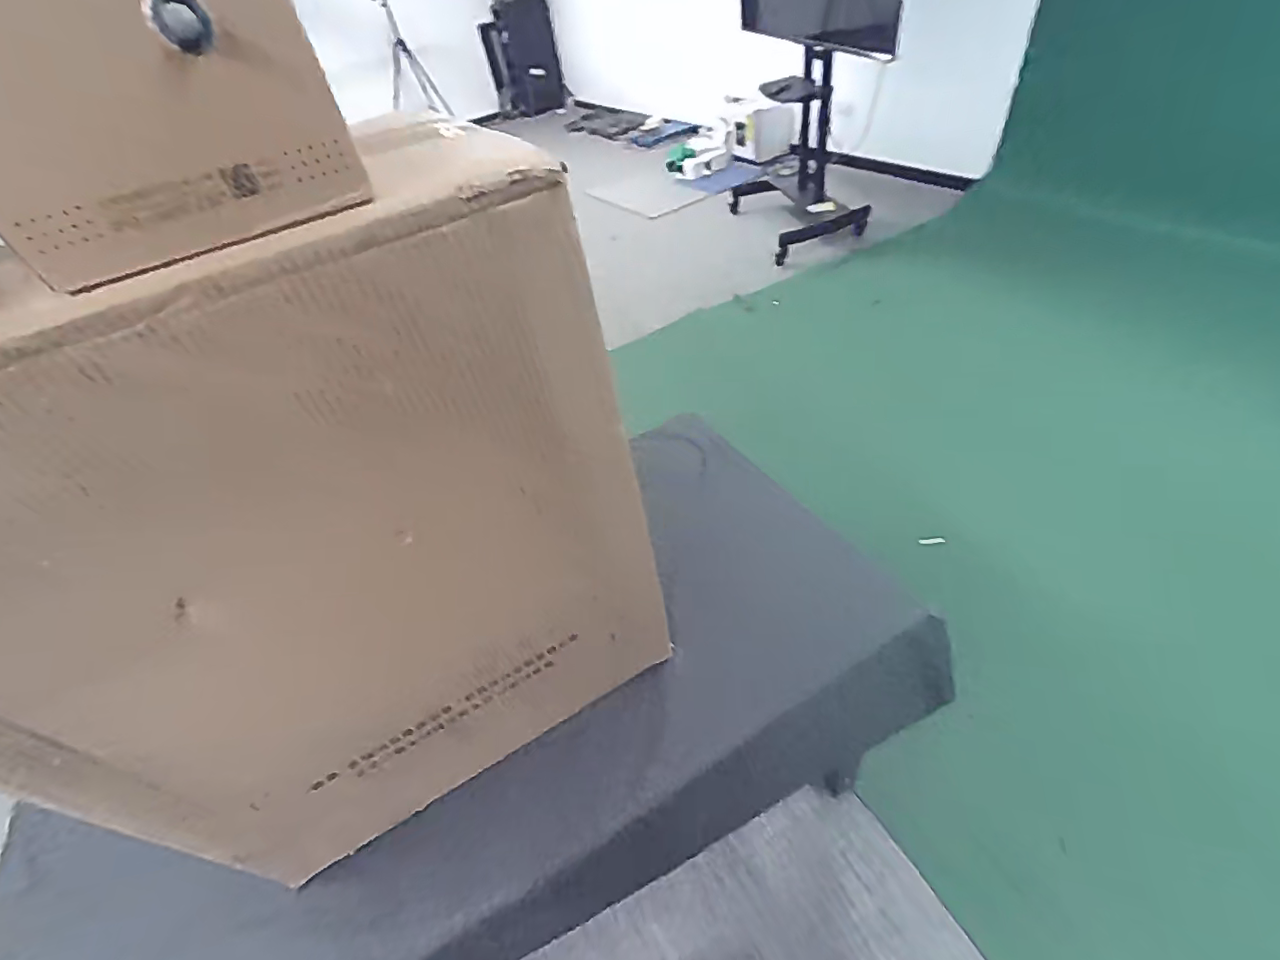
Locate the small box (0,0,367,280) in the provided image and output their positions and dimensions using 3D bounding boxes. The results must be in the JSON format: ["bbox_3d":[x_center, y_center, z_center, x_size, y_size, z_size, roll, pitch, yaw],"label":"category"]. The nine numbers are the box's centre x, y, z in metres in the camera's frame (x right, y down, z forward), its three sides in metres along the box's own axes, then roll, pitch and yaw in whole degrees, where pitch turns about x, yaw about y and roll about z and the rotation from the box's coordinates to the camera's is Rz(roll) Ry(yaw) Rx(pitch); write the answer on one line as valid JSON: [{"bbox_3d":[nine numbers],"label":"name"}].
[{"bbox_3d":[-0.275,-0.230,0.297,0.168,0.176,0.179,-26,46,-17],"label":"small box"}]
